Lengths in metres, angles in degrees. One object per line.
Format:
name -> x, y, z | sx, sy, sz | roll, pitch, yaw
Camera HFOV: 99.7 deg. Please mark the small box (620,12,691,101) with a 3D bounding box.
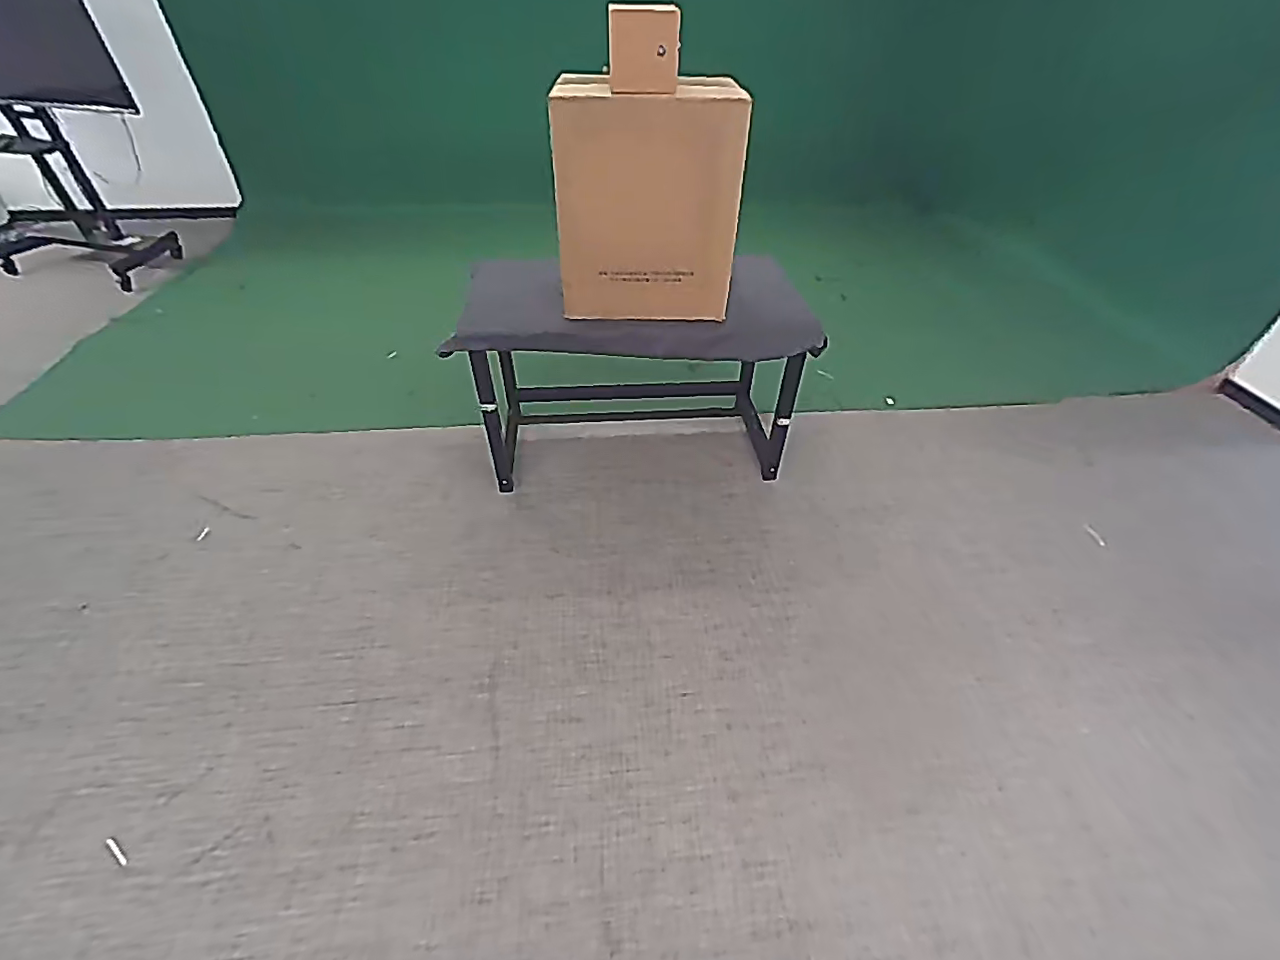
small box -> 0.037, -1.117, 1.427 | 0.179, 0.176, 0.168 | -1, 44, -1
